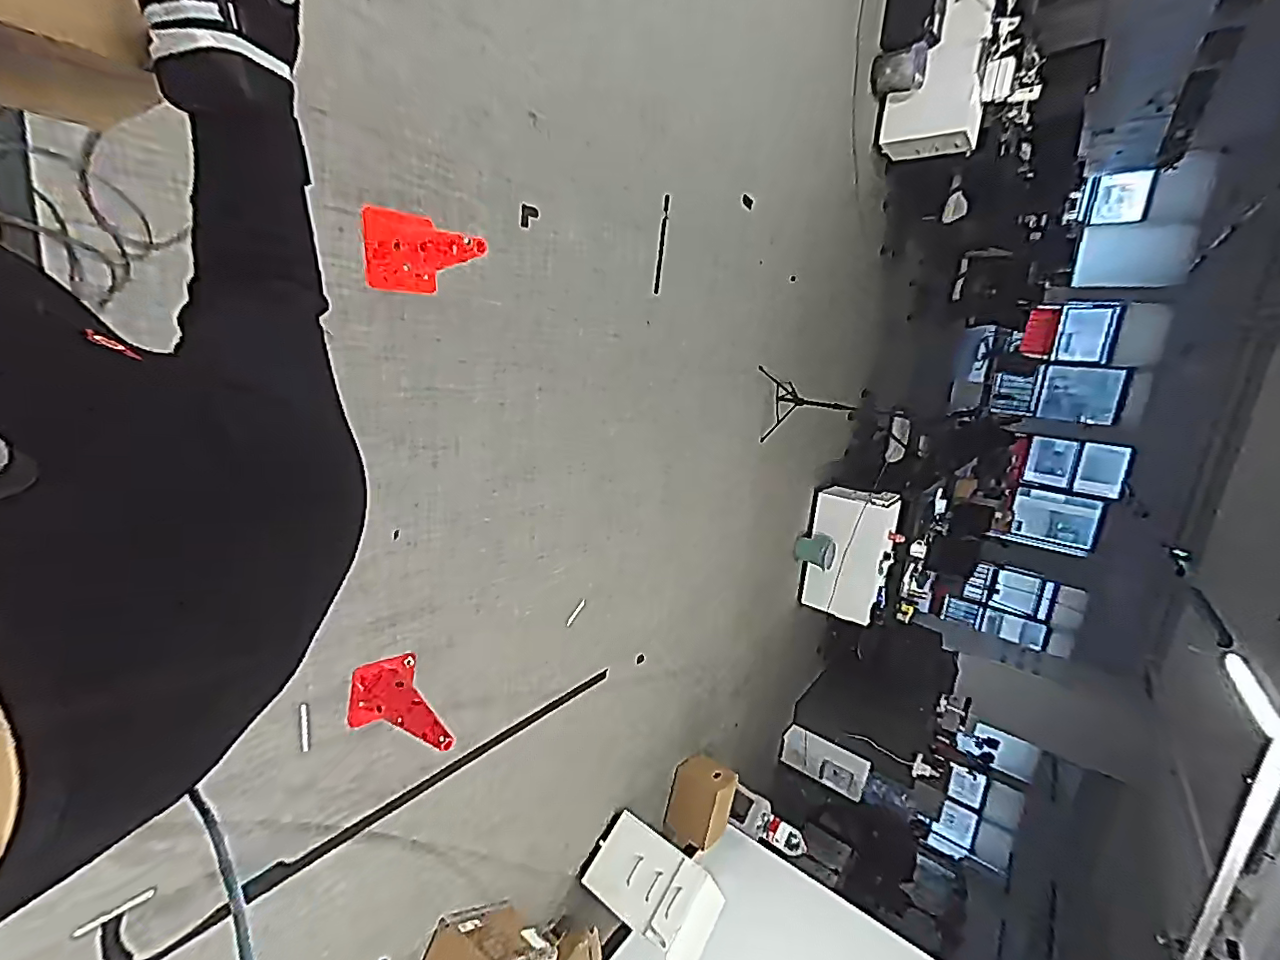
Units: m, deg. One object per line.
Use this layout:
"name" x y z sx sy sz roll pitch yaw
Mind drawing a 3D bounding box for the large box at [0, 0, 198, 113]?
"large box" -0.536 -0.443 0.270 0.408 0.320 0.320 -14 117 -52

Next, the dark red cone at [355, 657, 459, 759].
"dark red cone" -0.651 0.691 1.573 0.201 0.394 0.202 -2 104 -52

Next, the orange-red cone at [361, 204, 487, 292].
"orange-red cone" -0.508 -0.583 1.349 0.198 0.360 0.199 -16 113 -51
